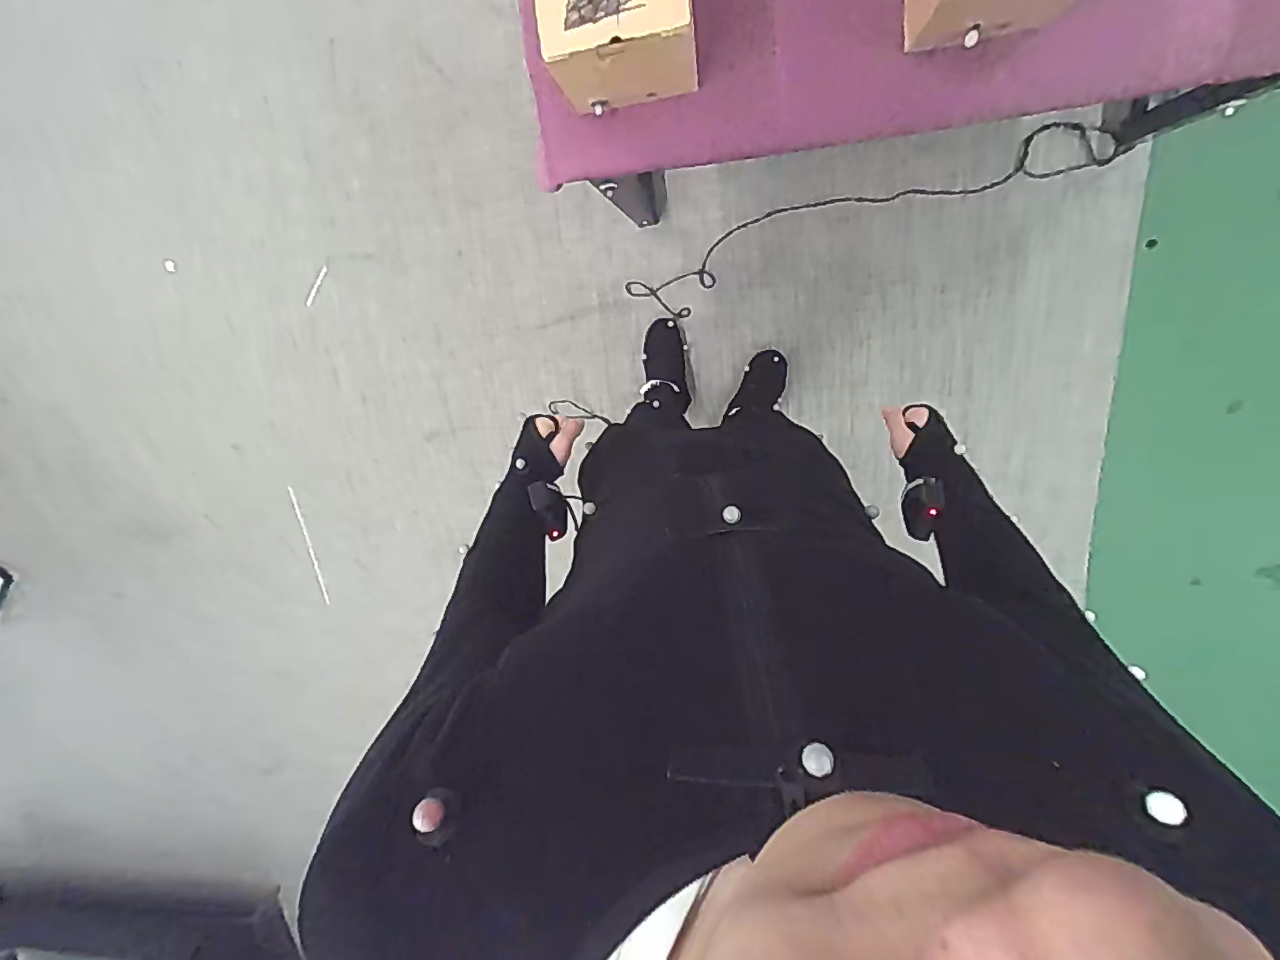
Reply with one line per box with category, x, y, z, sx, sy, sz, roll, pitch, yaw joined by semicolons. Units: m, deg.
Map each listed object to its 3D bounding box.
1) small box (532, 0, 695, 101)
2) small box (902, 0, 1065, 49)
small box;-0.027;-0.582;0.642;0.168;0.176;0.179;-4;106;11
small box;0.381;-0.600;0.561;0.168;0.176;0.179;-3;107;13
